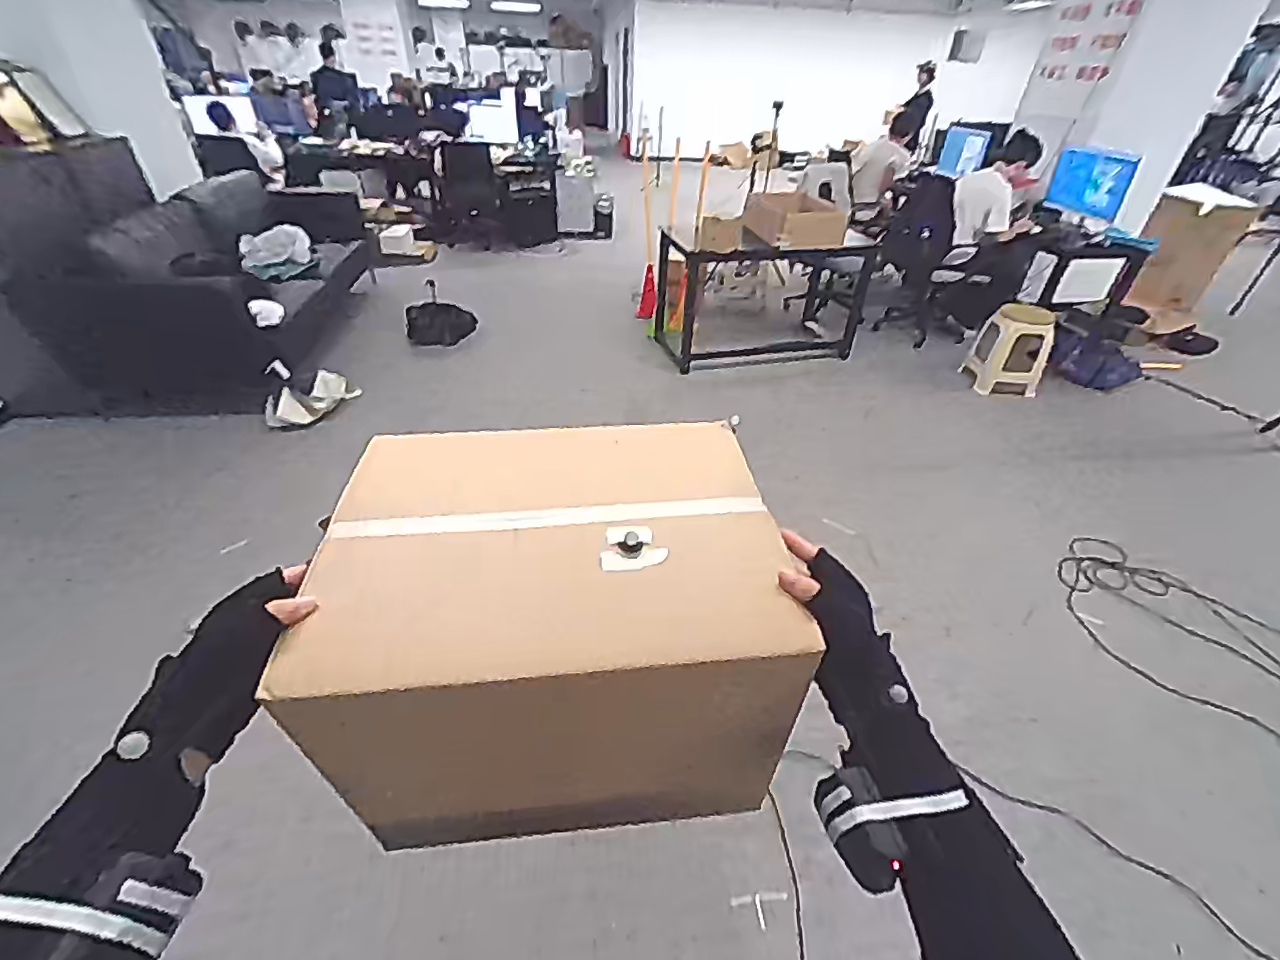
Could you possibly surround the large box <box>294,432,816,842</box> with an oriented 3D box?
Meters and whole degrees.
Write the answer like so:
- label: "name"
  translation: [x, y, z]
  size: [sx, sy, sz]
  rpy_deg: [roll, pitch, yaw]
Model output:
- label: "large box"
  translation: [-0.078, 0.162, 0.614]
  size: [0.408, 0.320, 0.320]
  rpy_deg: [-2, 39, -6]
